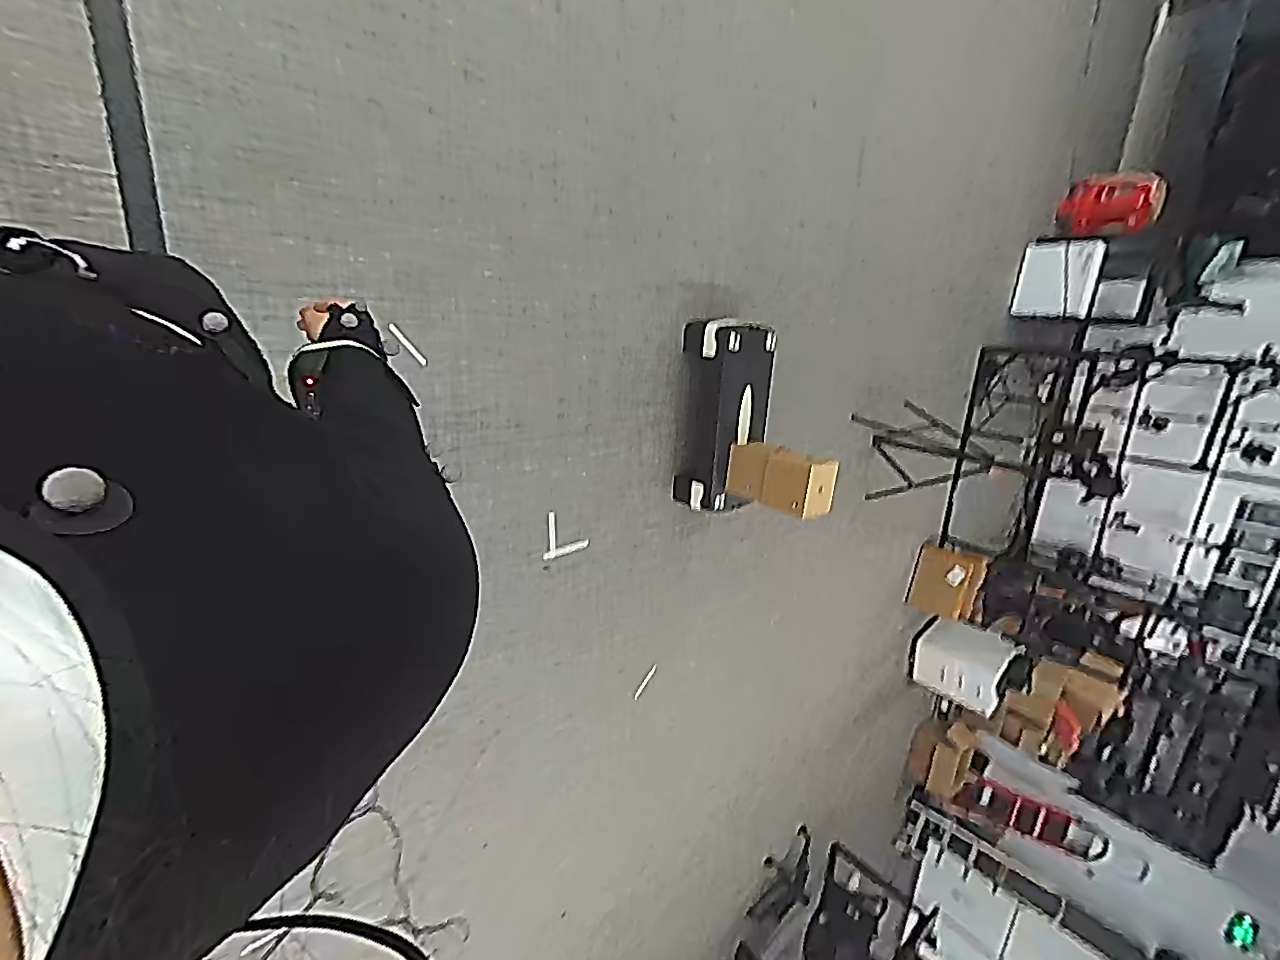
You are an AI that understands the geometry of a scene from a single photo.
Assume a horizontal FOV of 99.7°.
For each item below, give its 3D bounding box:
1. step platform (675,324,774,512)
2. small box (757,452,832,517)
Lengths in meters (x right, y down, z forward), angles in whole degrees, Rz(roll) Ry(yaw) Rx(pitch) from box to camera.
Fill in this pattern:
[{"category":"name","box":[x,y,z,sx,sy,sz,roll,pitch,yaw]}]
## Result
[{"category":"step platform","box":[0.313,-0.223,2.007,0.286,0.204,0.684,-12,111,-40]},{"category":"small box","box":[0.510,0.007,1.794,0.168,0.176,0.179,-8,110,-41]}]
